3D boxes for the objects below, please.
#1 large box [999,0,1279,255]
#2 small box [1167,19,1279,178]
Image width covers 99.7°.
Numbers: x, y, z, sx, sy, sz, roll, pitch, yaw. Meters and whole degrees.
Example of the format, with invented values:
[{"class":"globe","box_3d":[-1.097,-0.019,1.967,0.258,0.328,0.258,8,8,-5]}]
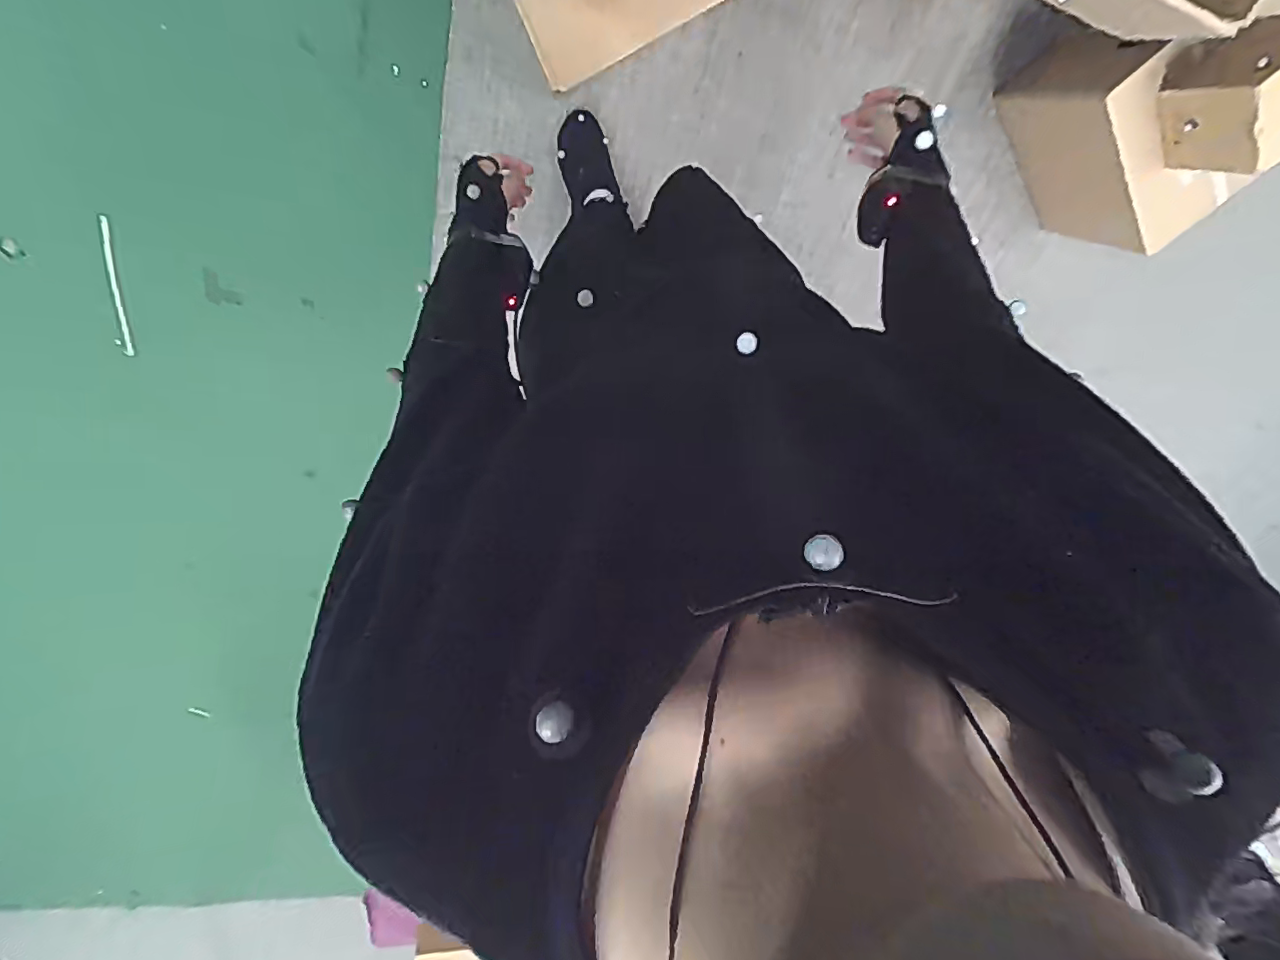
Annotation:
[{"class":"large box","box_3d":[1.075,-0.774,1.162,0.320,0.320,0.408,-41,123,18]},{"class":"small box","box_3d":[1.086,-0.666,0.939,0.179,0.176,0.168,-37,122,15]}]
